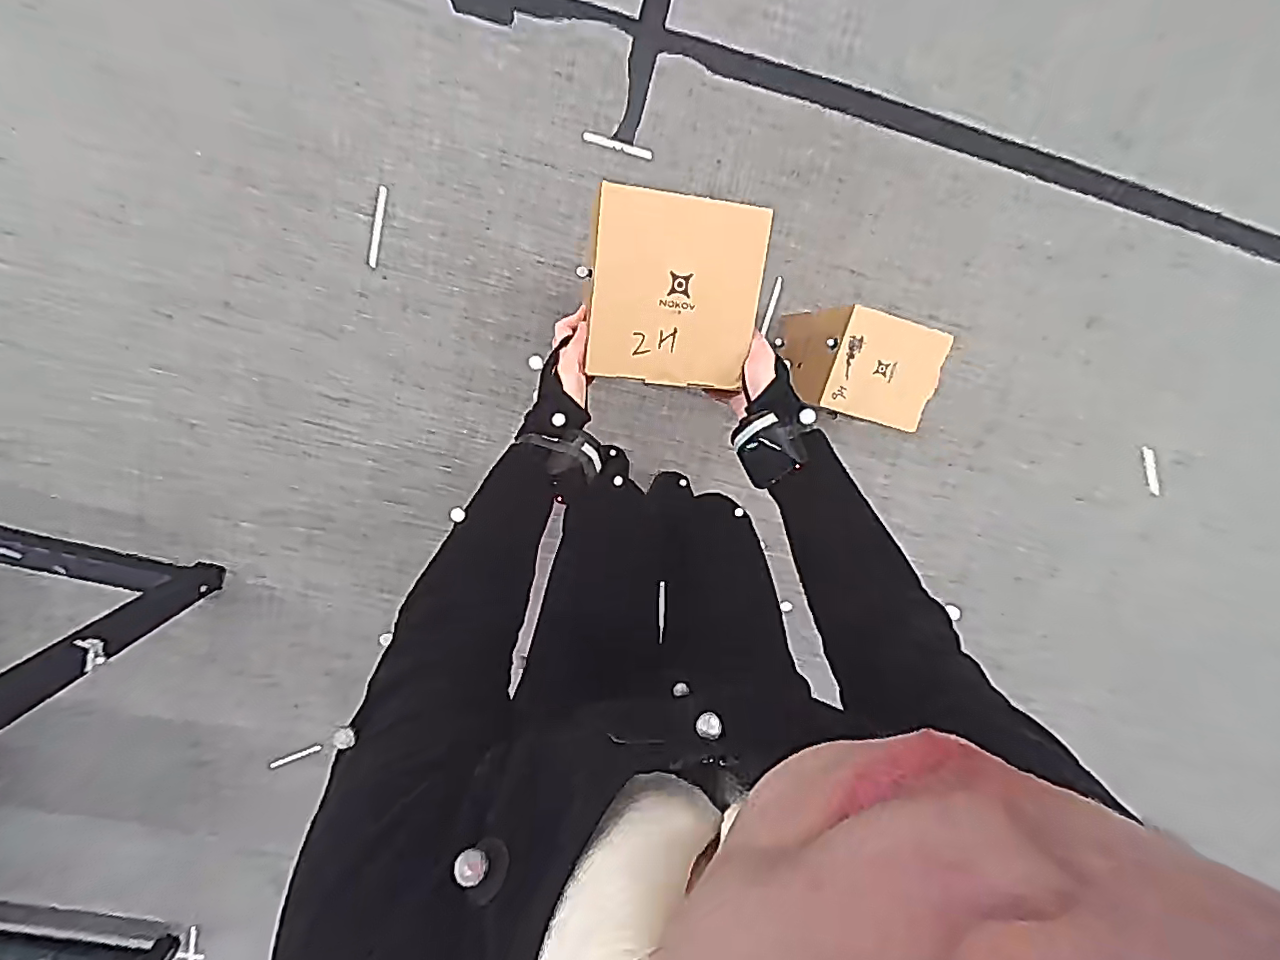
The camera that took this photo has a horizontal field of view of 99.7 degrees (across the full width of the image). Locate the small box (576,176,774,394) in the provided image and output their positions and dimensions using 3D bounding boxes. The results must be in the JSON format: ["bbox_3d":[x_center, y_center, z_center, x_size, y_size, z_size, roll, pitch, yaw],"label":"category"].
[{"bbox_3d":[0.022,-0.199,0.579,0.168,0.176,0.179,4,108,-10],"label":"small box"}]

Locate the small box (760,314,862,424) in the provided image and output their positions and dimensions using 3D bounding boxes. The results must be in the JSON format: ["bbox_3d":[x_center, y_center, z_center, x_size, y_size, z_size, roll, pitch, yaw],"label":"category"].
[{"bbox_3d":[0.369,-0.227,1.094,0.179,0.176,0.168,17,103,-8],"label":"small box"}]

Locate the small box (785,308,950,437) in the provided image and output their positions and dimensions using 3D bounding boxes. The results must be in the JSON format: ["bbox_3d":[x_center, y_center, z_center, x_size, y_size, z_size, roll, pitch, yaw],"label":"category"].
[{"bbox_3d":[0.380,-0.188,0.935,0.179,0.176,0.168,15,102,-8],"label":"small box"}]
